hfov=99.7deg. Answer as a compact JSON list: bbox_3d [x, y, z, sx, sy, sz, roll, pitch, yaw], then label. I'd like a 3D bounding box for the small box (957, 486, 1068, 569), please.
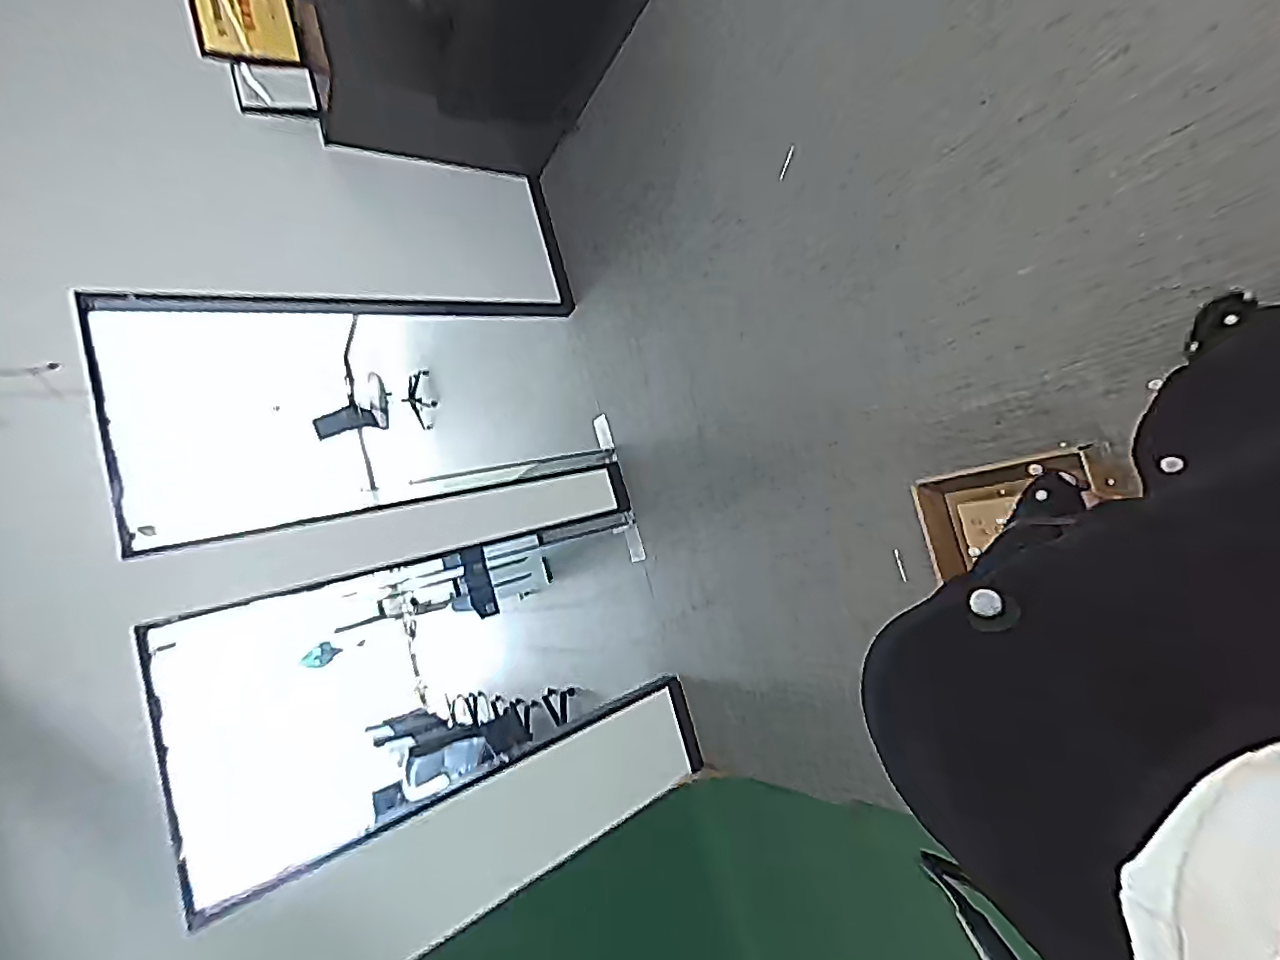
[{"bbox_3d":[0.940,0.119,1.358,0.179,0.176,0.168,-18,85,54],"label":"small box"}]
